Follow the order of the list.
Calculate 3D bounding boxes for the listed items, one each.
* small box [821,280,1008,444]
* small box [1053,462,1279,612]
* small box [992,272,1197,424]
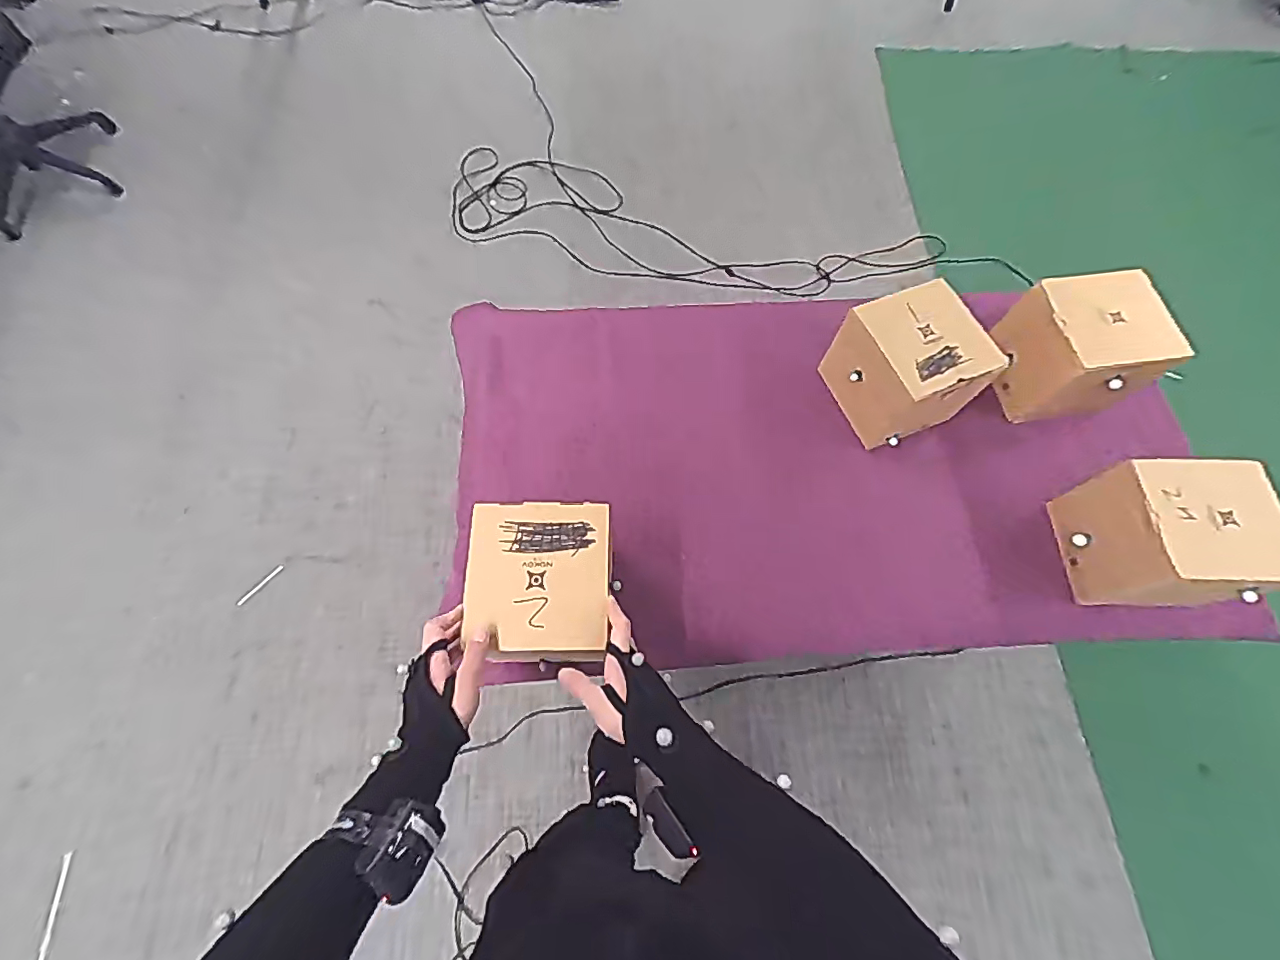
[{"bbox_3d":[0.420,-0.175,0.859,0.168,0.176,0.179,-20,69,-9],"label":"small box"},{"bbox_3d":[0.736,0.086,0.752,0.179,0.176,0.168,1,66,1],"label":"small box"},{"bbox_3d":[0.708,-0.207,0.876,0.179,0.176,0.168,-8,69,-2],"label":"small box"}]
